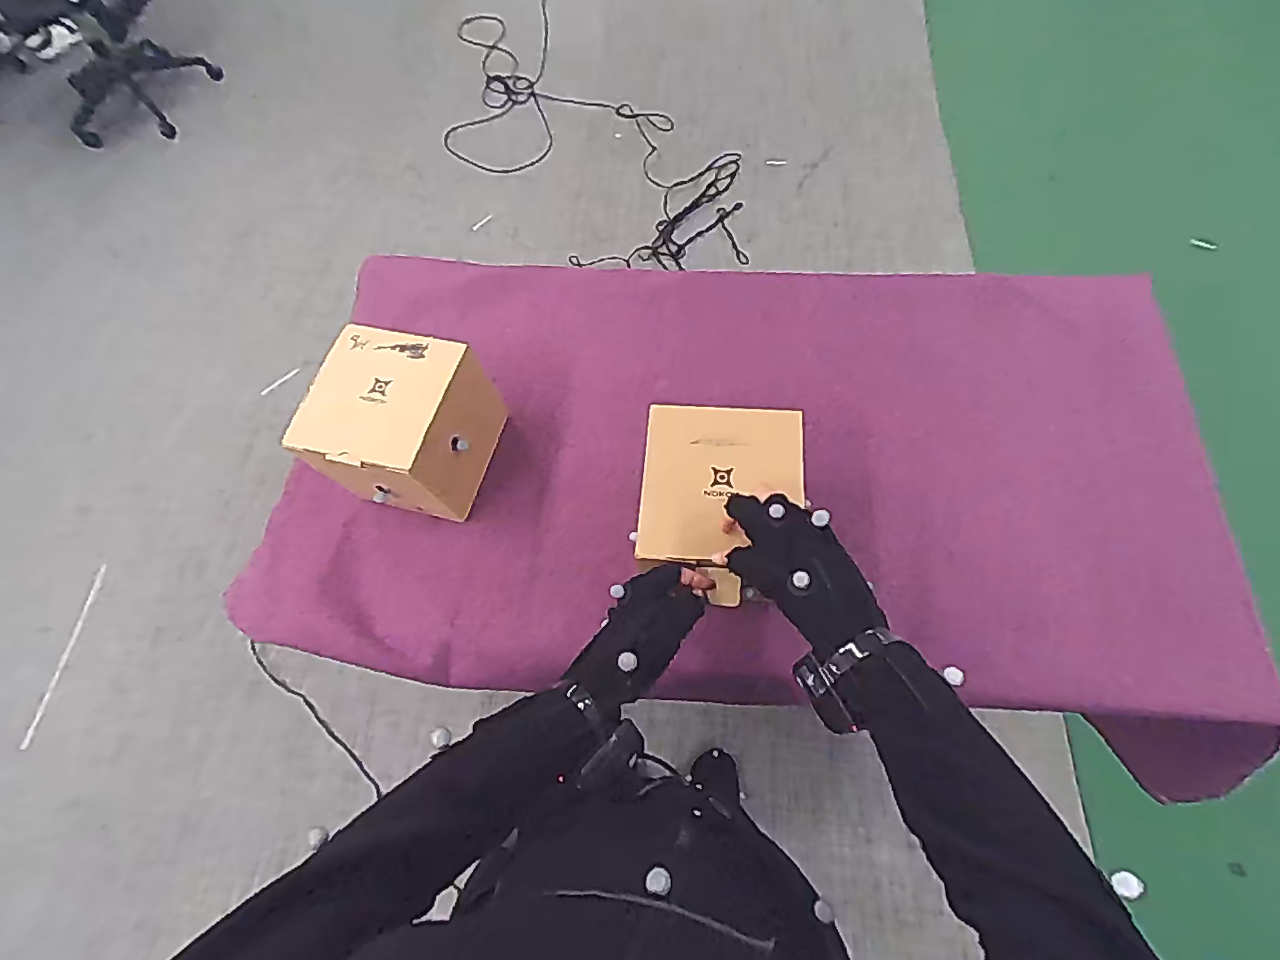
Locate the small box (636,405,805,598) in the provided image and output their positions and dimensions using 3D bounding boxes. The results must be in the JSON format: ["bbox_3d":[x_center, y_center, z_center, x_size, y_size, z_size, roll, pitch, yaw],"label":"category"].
[{"bbox_3d":[0.092,0.033,0.626,0.168,0.176,0.179,4,67,6],"label":"small box"}]

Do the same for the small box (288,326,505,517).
[{"bbox_3d":[-0.294,-0.067,0.701,0.168,0.176,0.179,12,69,9],"label":"small box"}]
